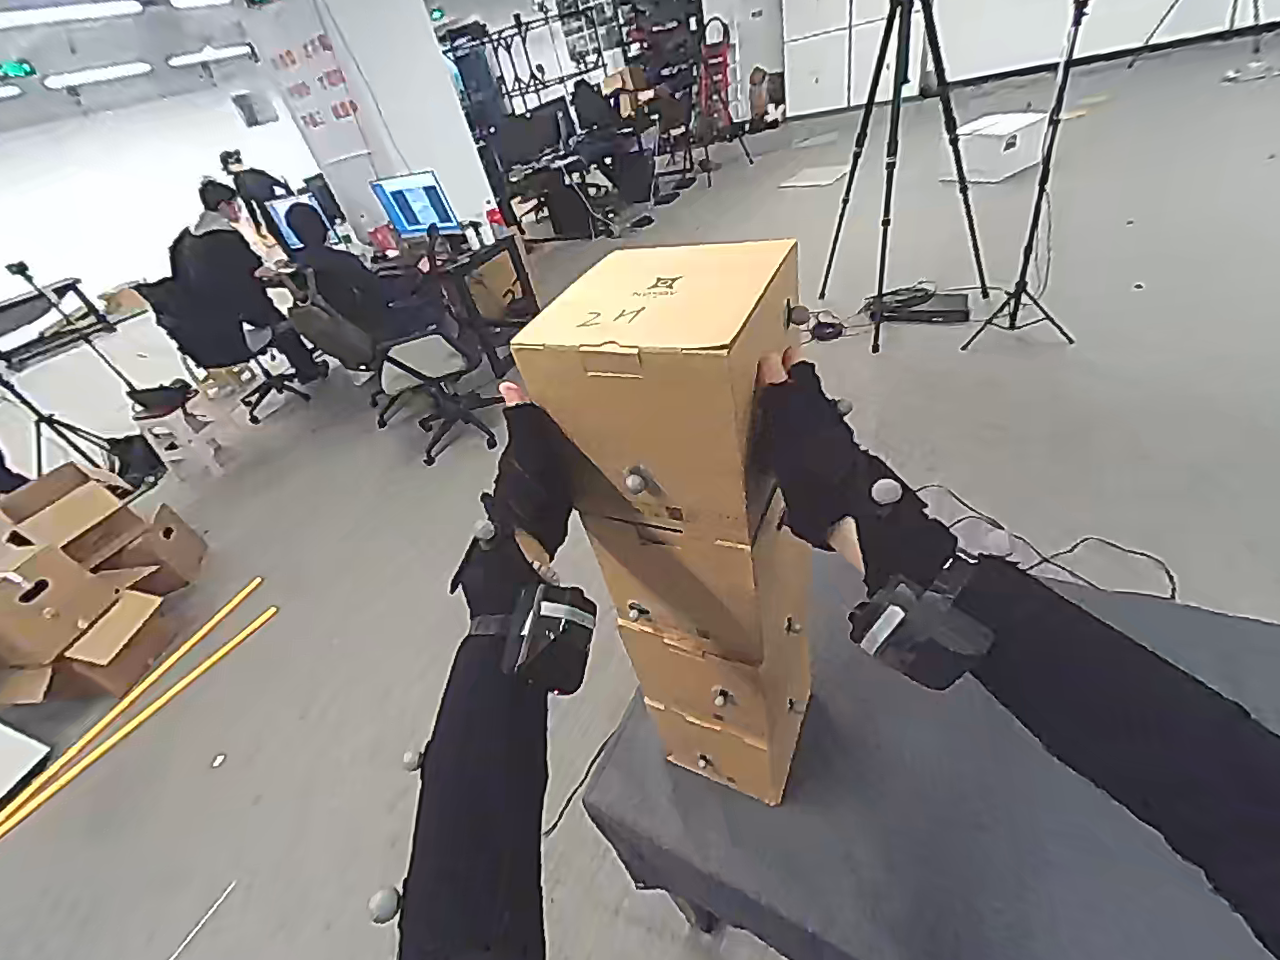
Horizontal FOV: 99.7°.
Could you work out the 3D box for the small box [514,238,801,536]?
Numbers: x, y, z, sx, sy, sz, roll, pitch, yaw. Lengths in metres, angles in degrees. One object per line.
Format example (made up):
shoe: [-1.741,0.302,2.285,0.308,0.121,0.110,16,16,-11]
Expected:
small box: [0.031,-0.083,0.450,0.168,0.176,0.179,9,45,27]

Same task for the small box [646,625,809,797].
small box: [0.129,0.294,0.750,0.168,0.176,0.179,10,45,28]

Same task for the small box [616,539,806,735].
small box: [0.098,0.170,0.649,0.168,0.176,0.179,11,46,28]

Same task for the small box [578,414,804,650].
small box: [0.067,0.042,0.552,0.168,0.176,0.179,10,45,27]
